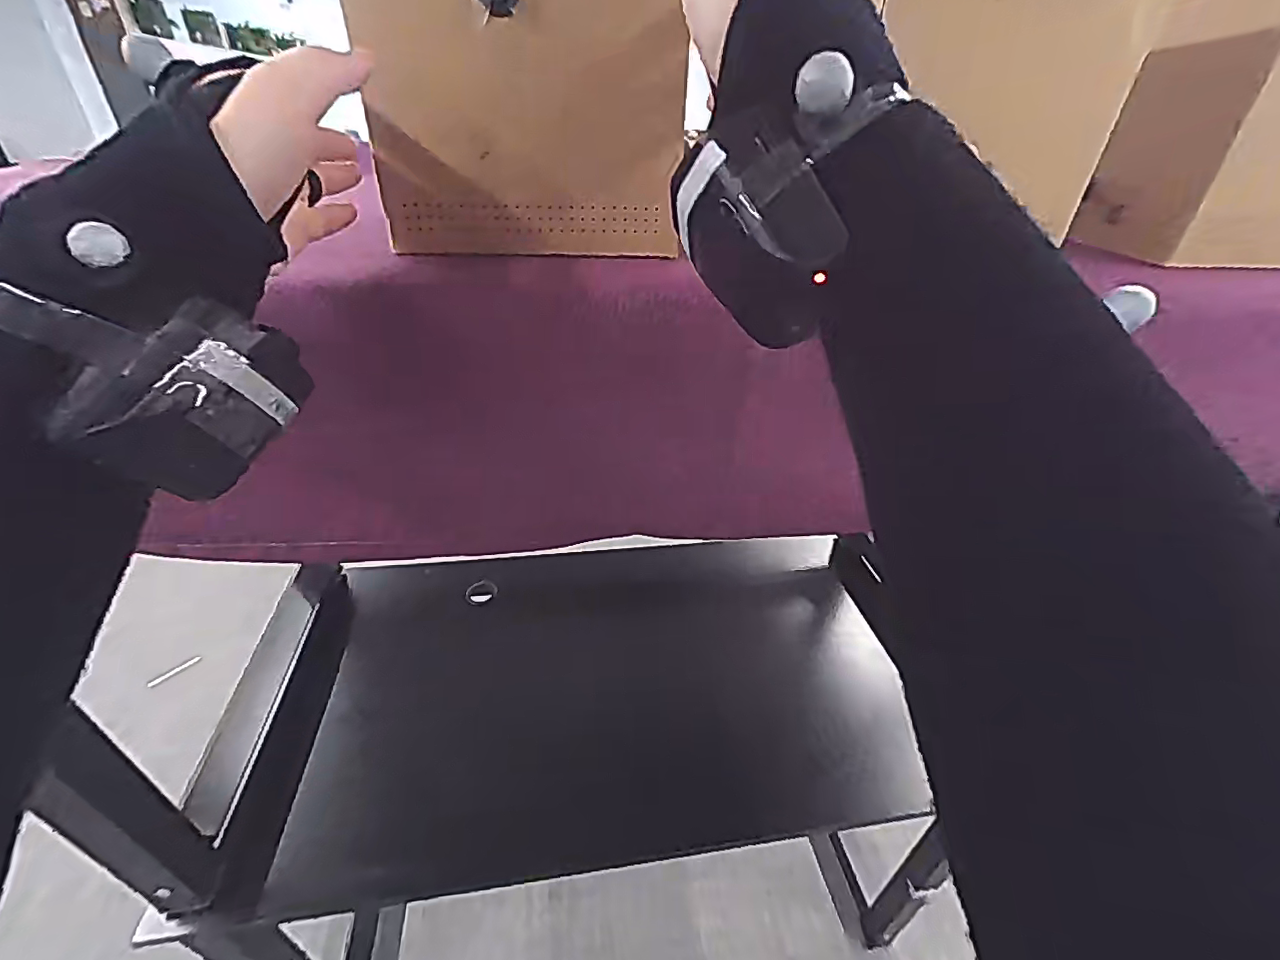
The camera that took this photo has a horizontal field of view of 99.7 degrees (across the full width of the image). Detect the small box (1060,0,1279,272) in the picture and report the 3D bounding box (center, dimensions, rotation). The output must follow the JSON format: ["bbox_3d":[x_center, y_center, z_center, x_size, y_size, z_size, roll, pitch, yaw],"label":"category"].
[{"bbox_3d":[0.443,-0.256,0.394,0.179,0.176,0.168,-1,33,-4],"label":"small box"}]

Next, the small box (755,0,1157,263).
[{"bbox_3d":[0.192,-0.254,0.375,0.168,0.176,0.179,-3,34,-8],"label":"small box"}]

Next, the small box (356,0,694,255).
[{"bbox_3d":[-0.064,-0.248,0.347,0.179,0.176,0.168,-1,35,-6],"label":"small box"}]
